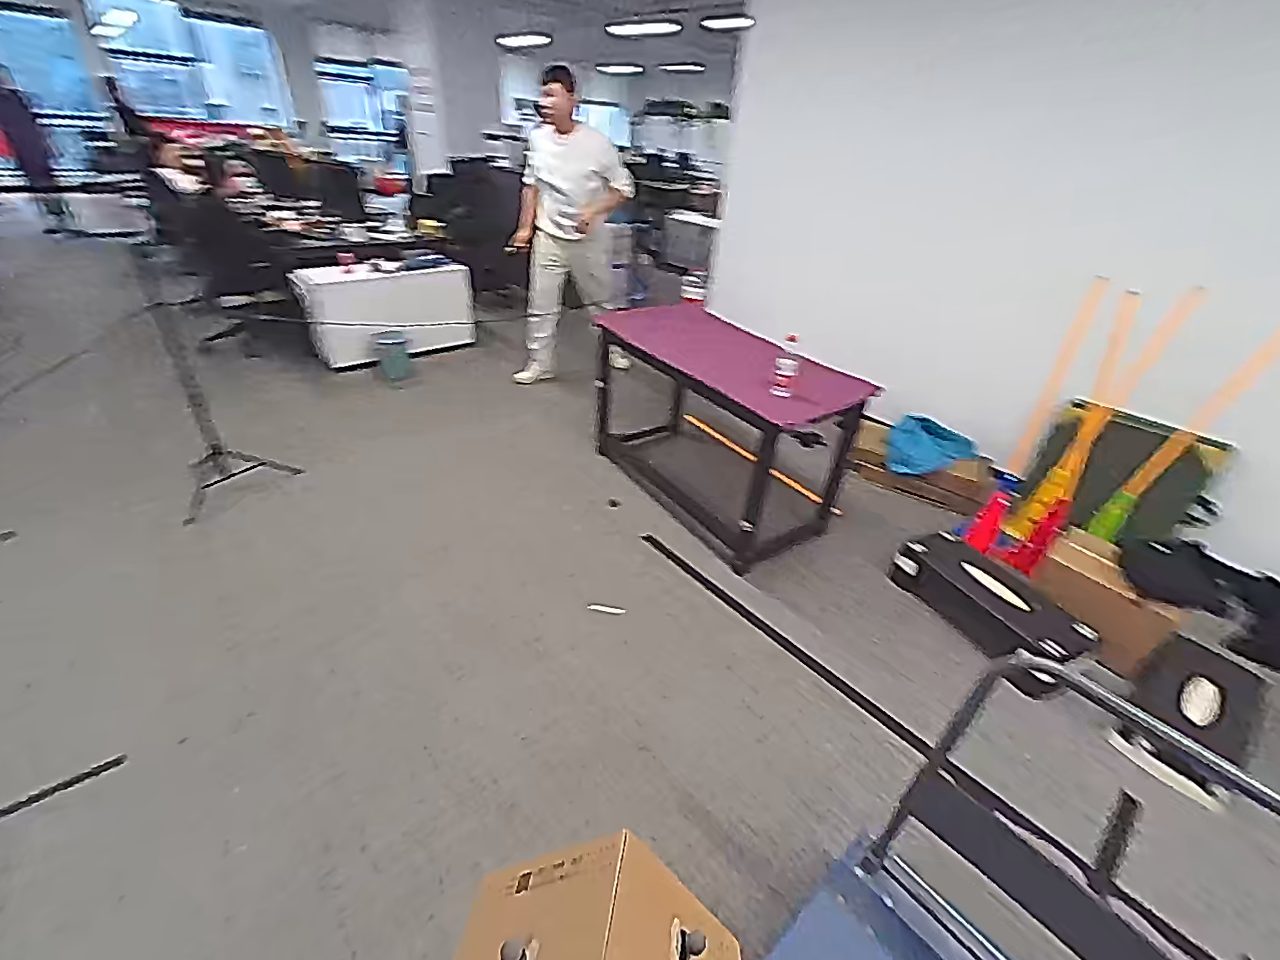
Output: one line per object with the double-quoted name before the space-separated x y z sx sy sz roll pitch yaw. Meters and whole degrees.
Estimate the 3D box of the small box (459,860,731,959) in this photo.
"small box" -0.041 0.421 0.405 0.168 0.179 0.176 -31 17 21
